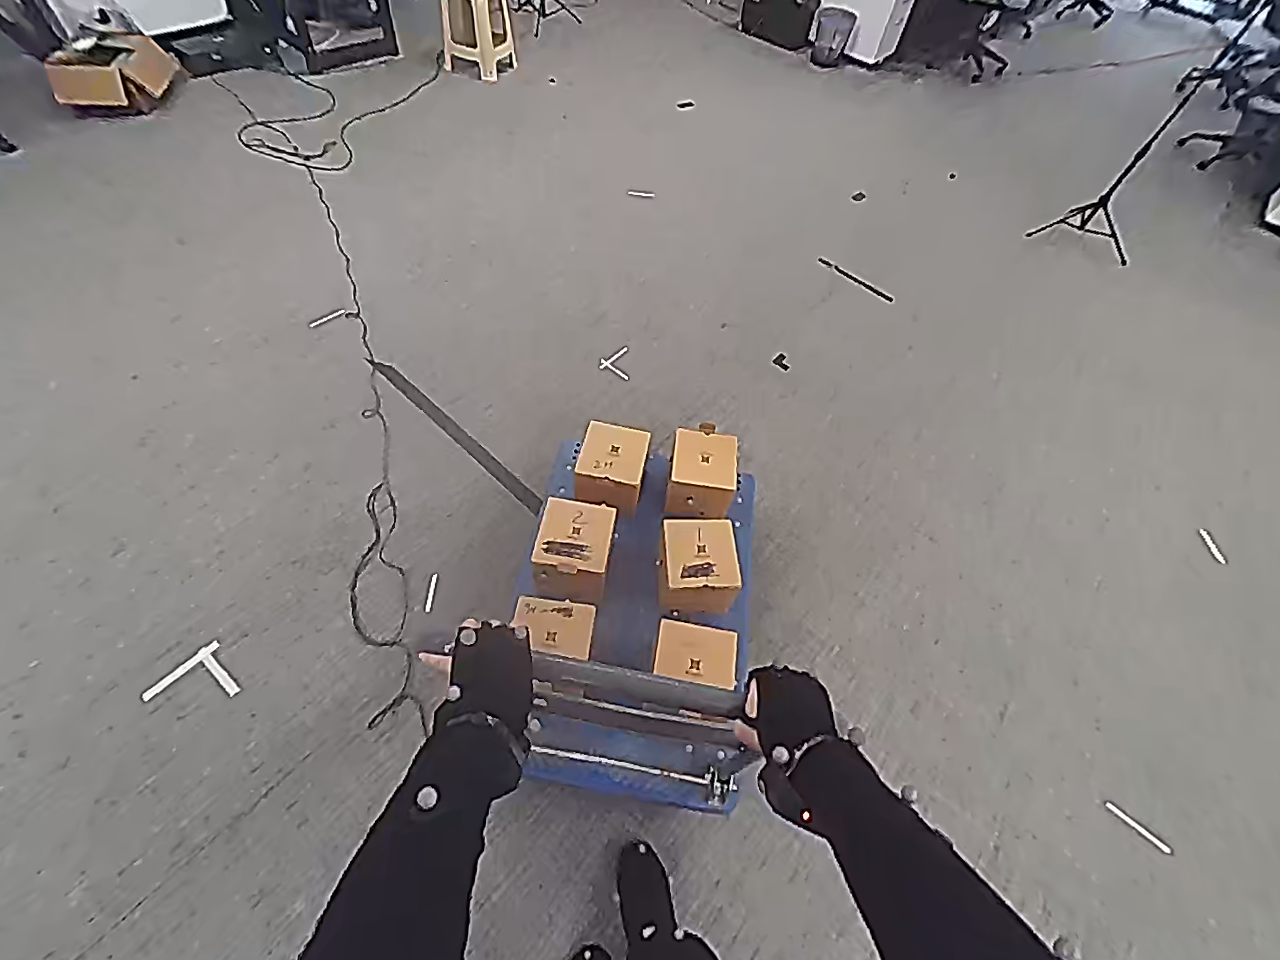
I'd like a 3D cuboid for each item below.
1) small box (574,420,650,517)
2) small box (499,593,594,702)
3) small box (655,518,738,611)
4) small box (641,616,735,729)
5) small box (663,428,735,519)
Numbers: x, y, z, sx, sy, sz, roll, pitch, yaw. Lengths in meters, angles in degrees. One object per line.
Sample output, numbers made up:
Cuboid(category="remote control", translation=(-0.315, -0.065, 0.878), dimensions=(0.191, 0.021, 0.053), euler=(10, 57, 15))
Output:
Cuboid(category="small box", translation=(-0.077, -0.029, 1.445), dimensions=(0.168, 0.176, 0.179), euler=(12, 56, 2))
Cuboid(category="small box", translation=(-0.193, 0.366, 1.163), dimensions=(0.168, 0.176, 0.179), euler=(9, 56, -2))
Cuboid(category="small box", translation=(0.129, 0.209, 1.309), dimensions=(0.168, 0.176, 0.179), euler=(1, 55, -6))
Cuboid(category="small box", translation=(0.100, 0.420, 1.163), dimensions=(0.168, 0.176, 0.179), euler=(12, 55, 1))
Cuboid(category="small box", translation=(0.157, -0.013, 1.465), dimensions=(0.168, 0.176, 0.179), euler=(8, 55, -1))
